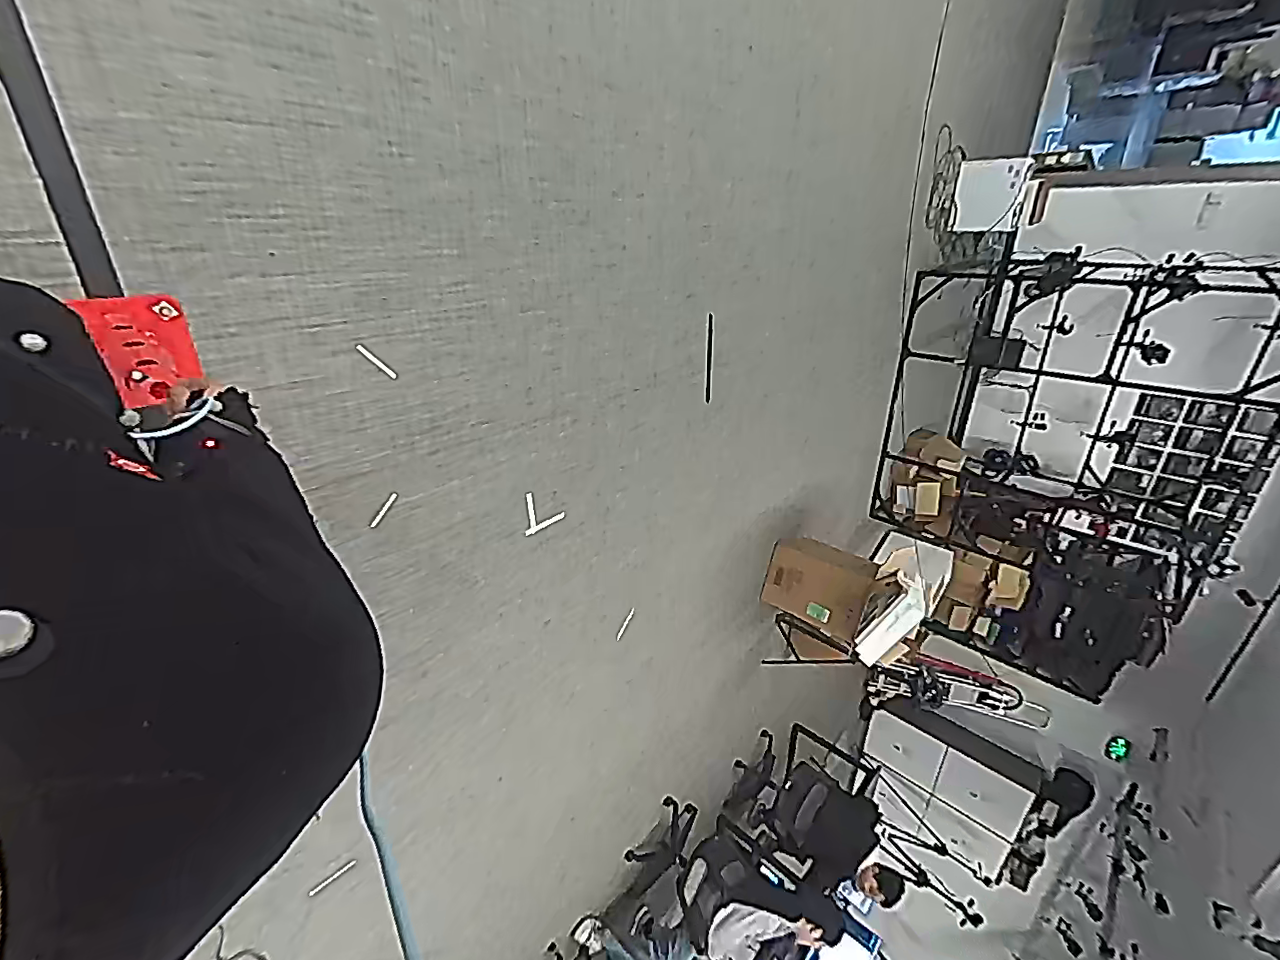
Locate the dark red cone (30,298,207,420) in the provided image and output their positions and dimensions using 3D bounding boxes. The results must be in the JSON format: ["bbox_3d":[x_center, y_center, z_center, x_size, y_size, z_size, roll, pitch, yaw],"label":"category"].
[{"bbox_3d":[-0.815,-0.173,0.879,0.201,0.394,0.202,-24,125,-40],"label":"dark red cone"}]
